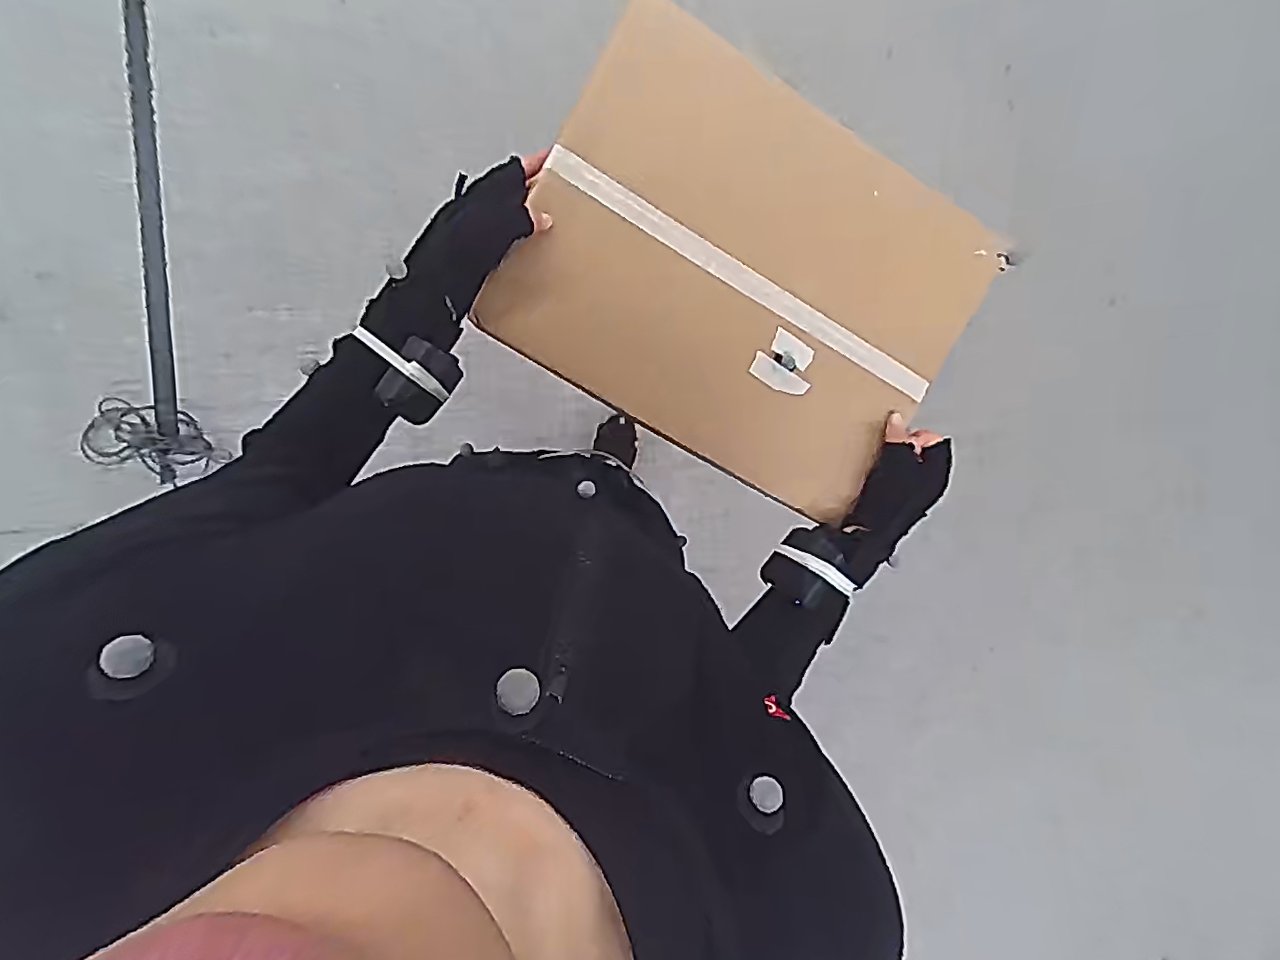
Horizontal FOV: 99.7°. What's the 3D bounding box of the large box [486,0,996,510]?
[{"bbox_3d":[0.085,-0.213,0.648,0.408,0.320,0.320,29,96,-10],"label":"large box"}]
